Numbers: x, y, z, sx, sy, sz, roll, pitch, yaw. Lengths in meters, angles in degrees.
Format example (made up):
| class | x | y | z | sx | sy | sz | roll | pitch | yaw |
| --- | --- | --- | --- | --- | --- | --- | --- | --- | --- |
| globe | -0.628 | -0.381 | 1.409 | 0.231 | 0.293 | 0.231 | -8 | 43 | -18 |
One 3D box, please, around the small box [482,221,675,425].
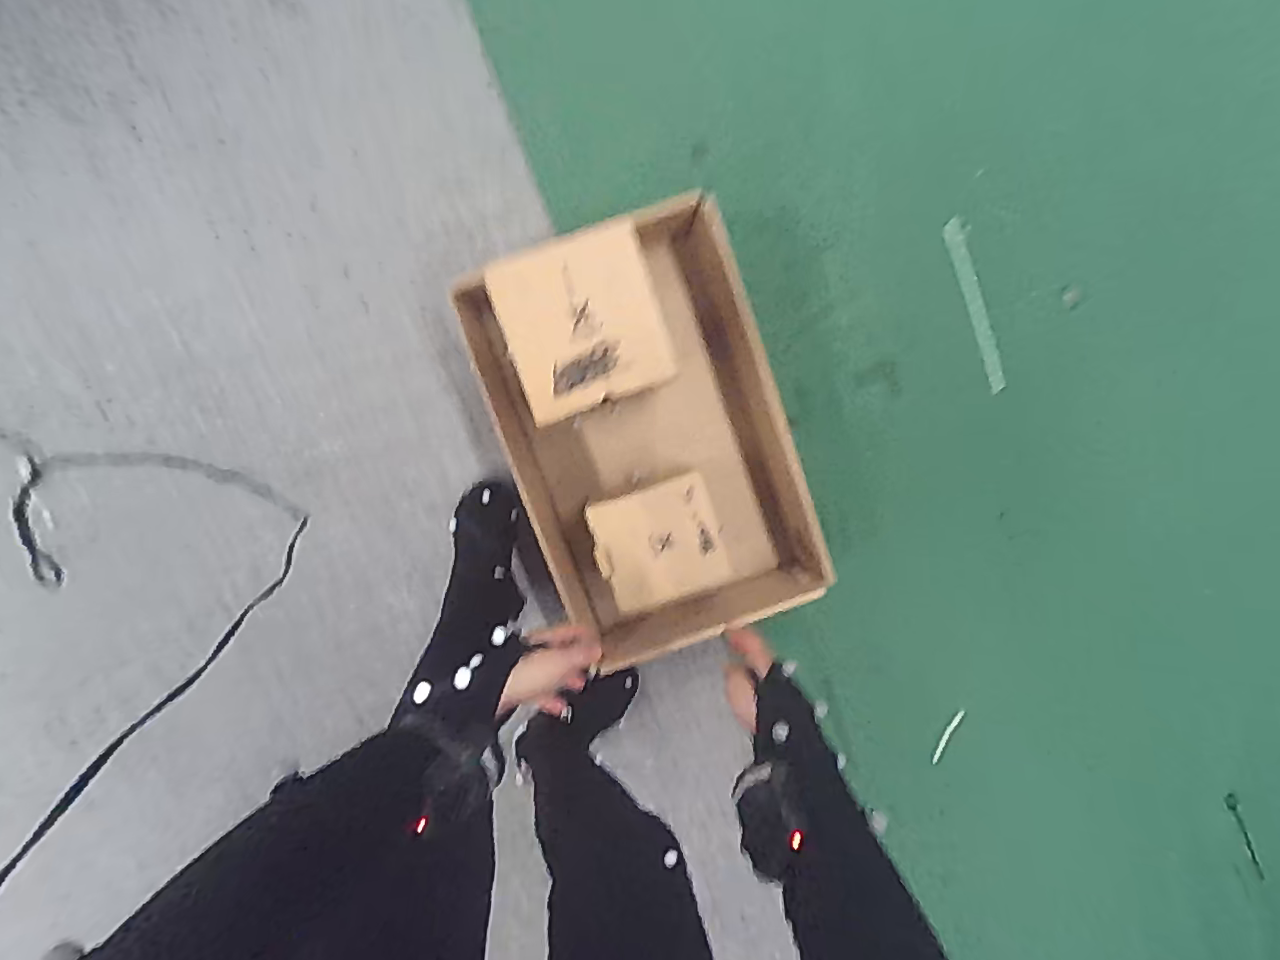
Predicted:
| class | x | y | z | sx | sy | sz | roll | pitch | yaw |
| --- | --- | --- | --- | --- | --- | --- | --- | --- | --- |
| small box | -0.066 | -0.175 | 0.655 | 0.168 | 0.176 | 0.179 | -19 | 97 | -1 |
